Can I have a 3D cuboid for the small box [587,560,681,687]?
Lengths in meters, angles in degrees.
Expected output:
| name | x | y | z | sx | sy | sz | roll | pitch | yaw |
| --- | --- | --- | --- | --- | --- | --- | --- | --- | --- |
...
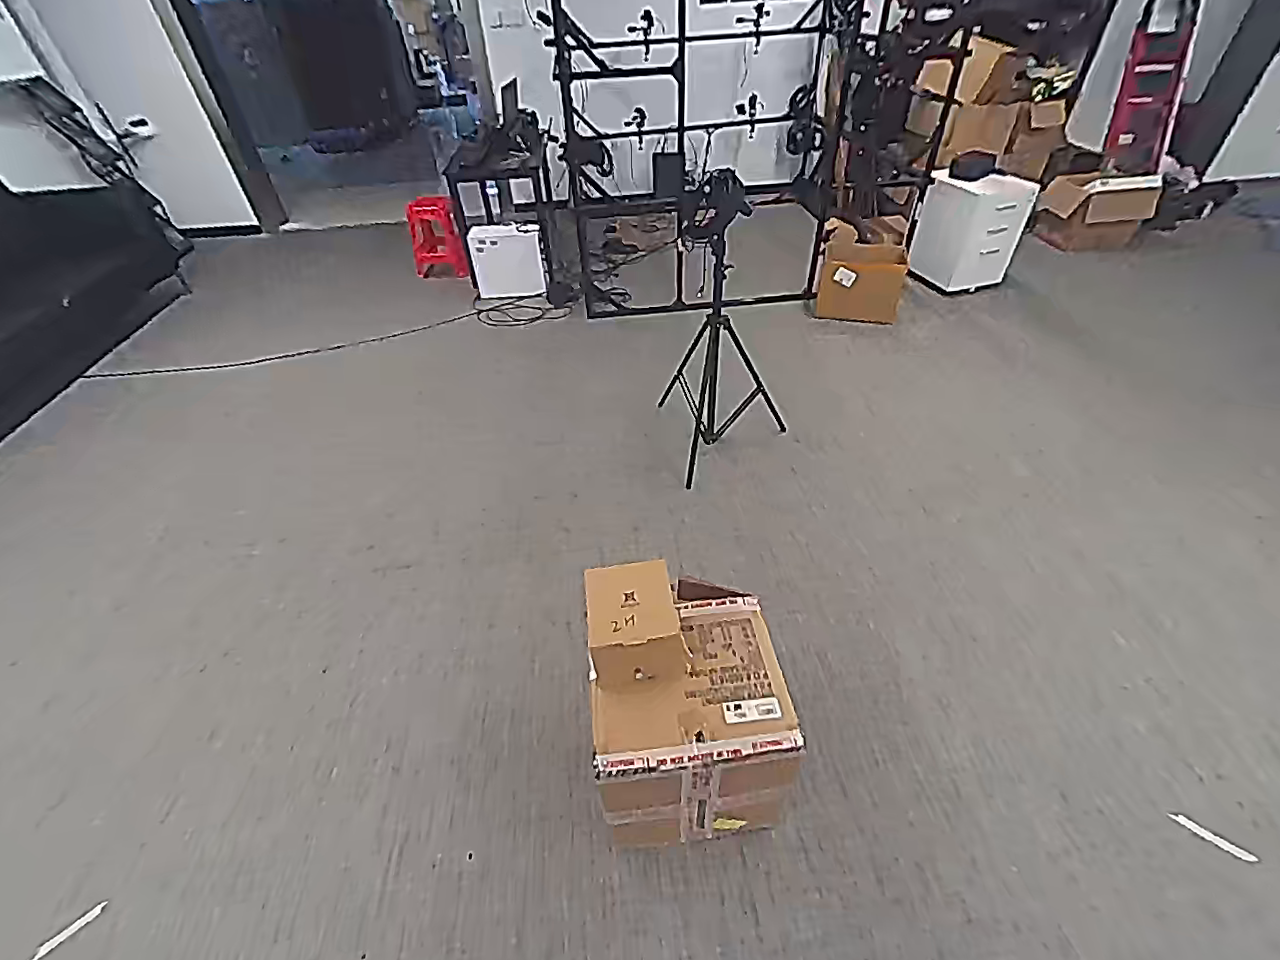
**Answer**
| name | x | y | z | sx | sy | sz | roll | pitch | yaw |
| --- | --- | --- | --- | --- | --- | --- | --- | --- | --- |
| small box | -0.014 | 0.286 | 1.079 | 0.168 | 0.176 | 0.179 | -8 | 45 | -2 |
